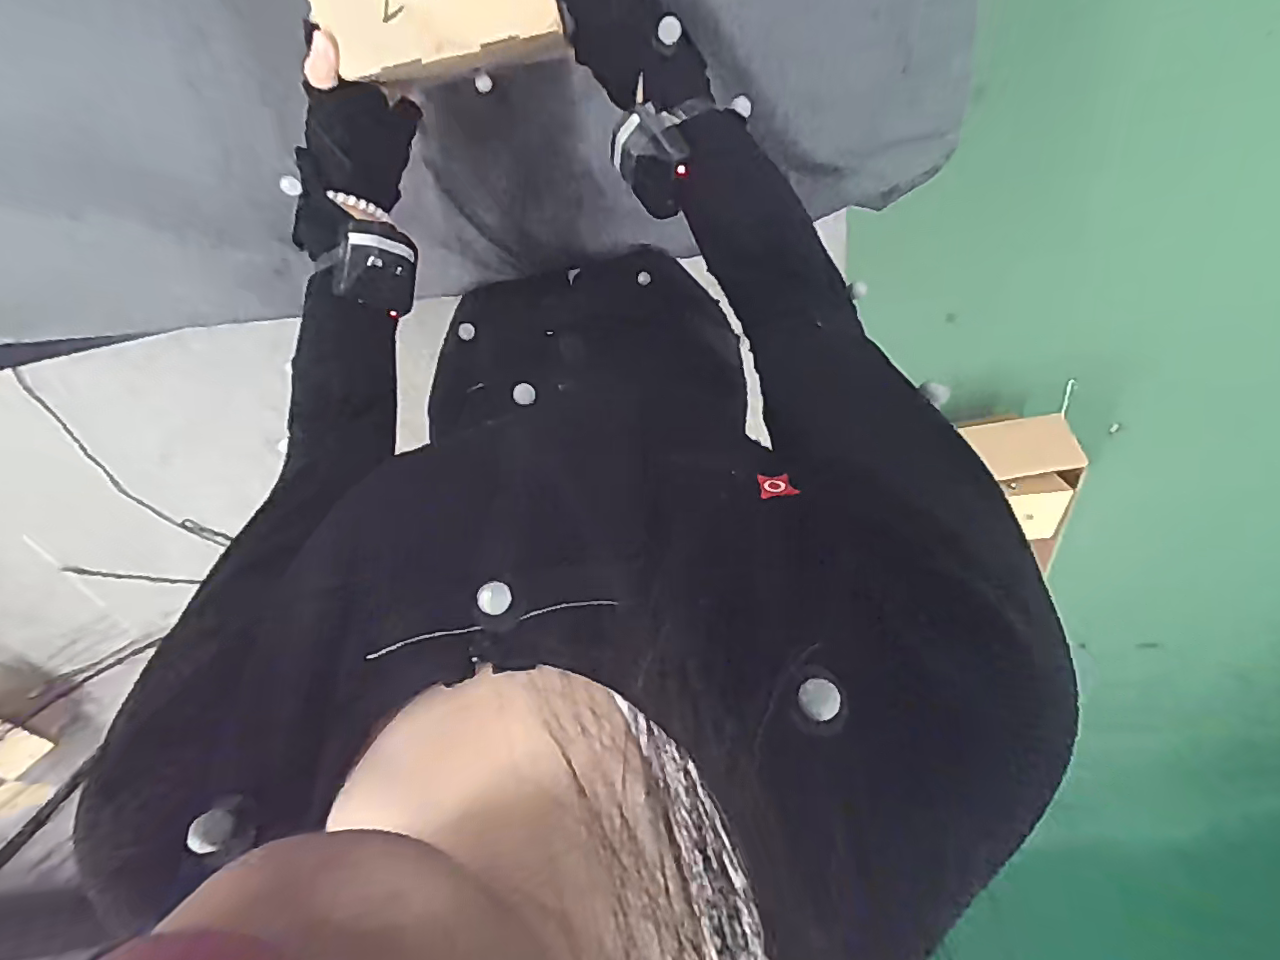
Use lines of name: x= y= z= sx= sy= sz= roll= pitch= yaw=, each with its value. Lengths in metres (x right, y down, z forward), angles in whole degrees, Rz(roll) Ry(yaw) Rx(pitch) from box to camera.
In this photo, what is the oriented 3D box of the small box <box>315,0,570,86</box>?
small box: x=-0.153 y=-0.419 z=0.403 sx=0.168 sy=0.176 sz=0.179 roll=-10 pitch=124 yaw=3
